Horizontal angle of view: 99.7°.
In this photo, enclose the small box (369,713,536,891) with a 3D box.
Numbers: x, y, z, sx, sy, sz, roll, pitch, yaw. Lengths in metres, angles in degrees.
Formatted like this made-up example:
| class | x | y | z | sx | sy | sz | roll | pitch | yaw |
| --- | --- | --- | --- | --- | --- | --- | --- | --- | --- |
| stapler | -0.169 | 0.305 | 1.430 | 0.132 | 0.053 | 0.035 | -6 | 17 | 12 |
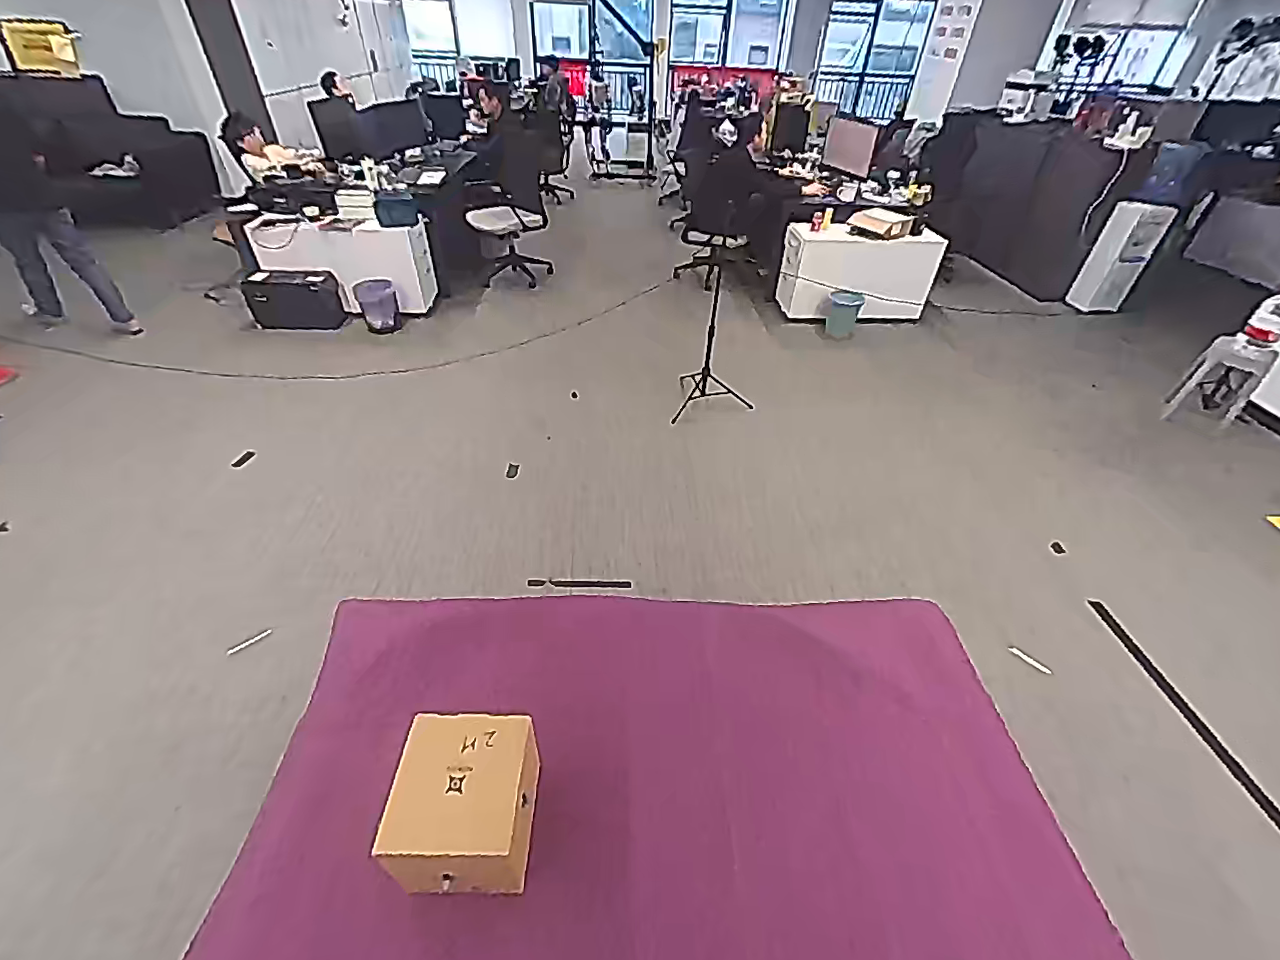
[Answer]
| class | x | y | z | sx | sy | sz | roll | pitch | yaw |
| --- | --- | --- | --- | --- | --- | --- | --- | --- | --- |
| small box | -0.244 | 0.452 | 0.758 | 0.168 | 0.176 | 0.179 | 2 | 40 | -1 |
